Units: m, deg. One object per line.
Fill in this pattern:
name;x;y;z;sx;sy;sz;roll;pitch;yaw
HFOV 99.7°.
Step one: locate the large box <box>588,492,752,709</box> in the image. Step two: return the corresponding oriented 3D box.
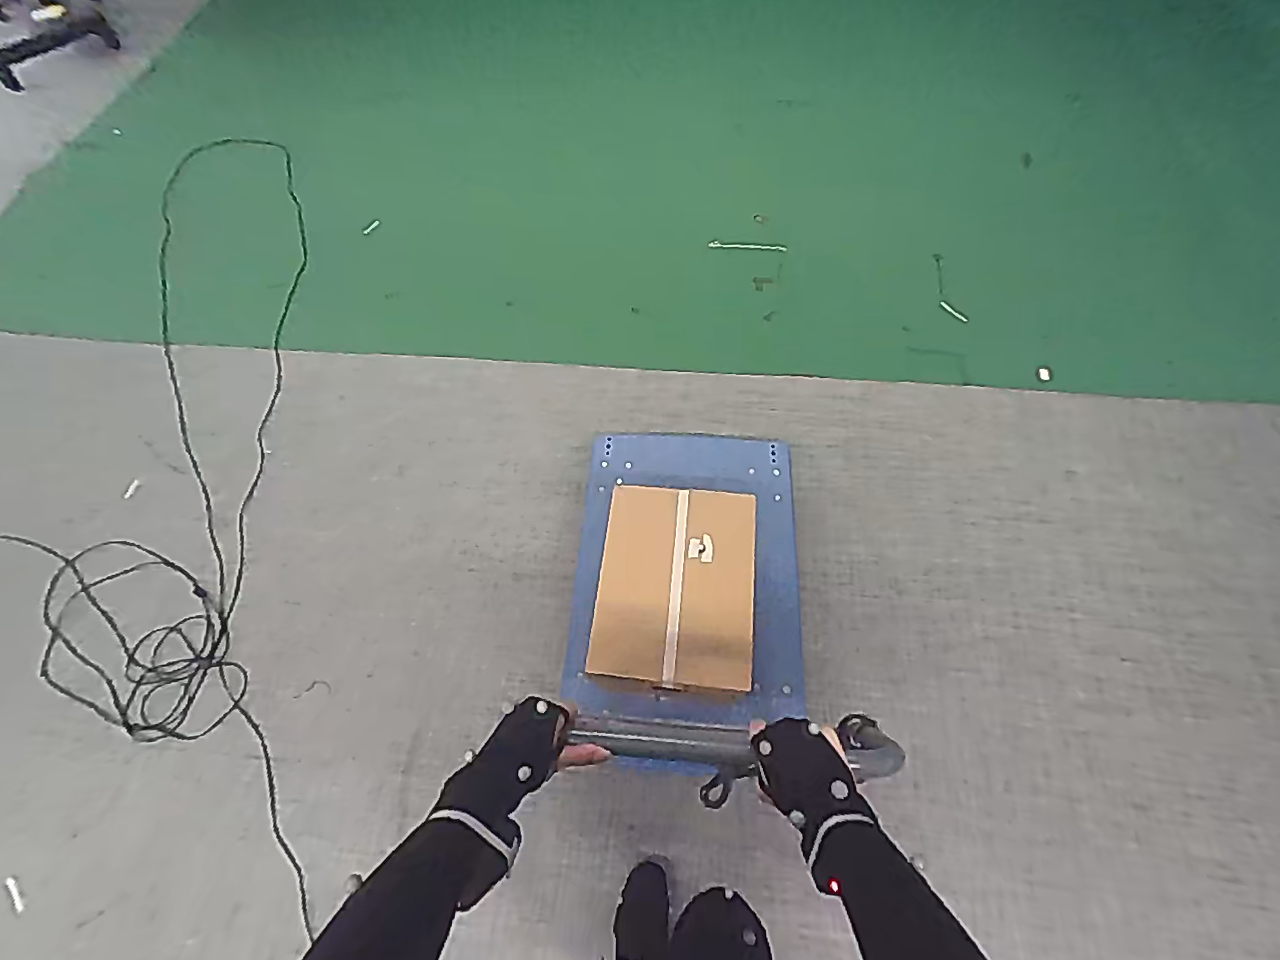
large box;0.080;0.281;1.230;0.320;0.320;0.408;5;62;5
